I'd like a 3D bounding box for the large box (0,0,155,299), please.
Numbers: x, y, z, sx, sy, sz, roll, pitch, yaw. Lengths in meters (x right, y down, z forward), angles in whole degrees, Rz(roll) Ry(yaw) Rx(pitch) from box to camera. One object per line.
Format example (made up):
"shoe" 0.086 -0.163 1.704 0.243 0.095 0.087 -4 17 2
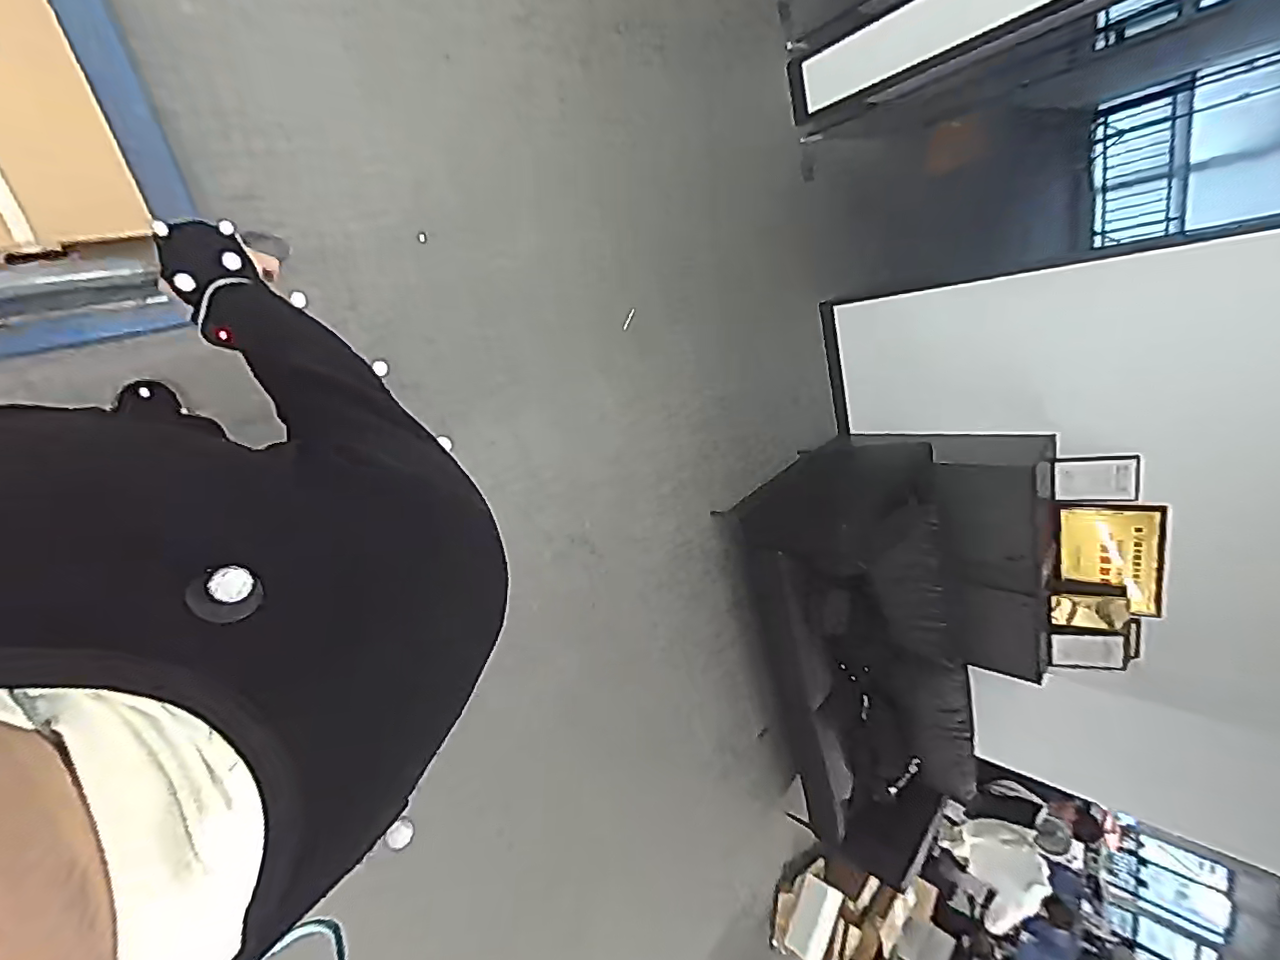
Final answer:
"large box" -1.042 -0.525 0.839 0.320 0.320 0.408 -29 112 -38
